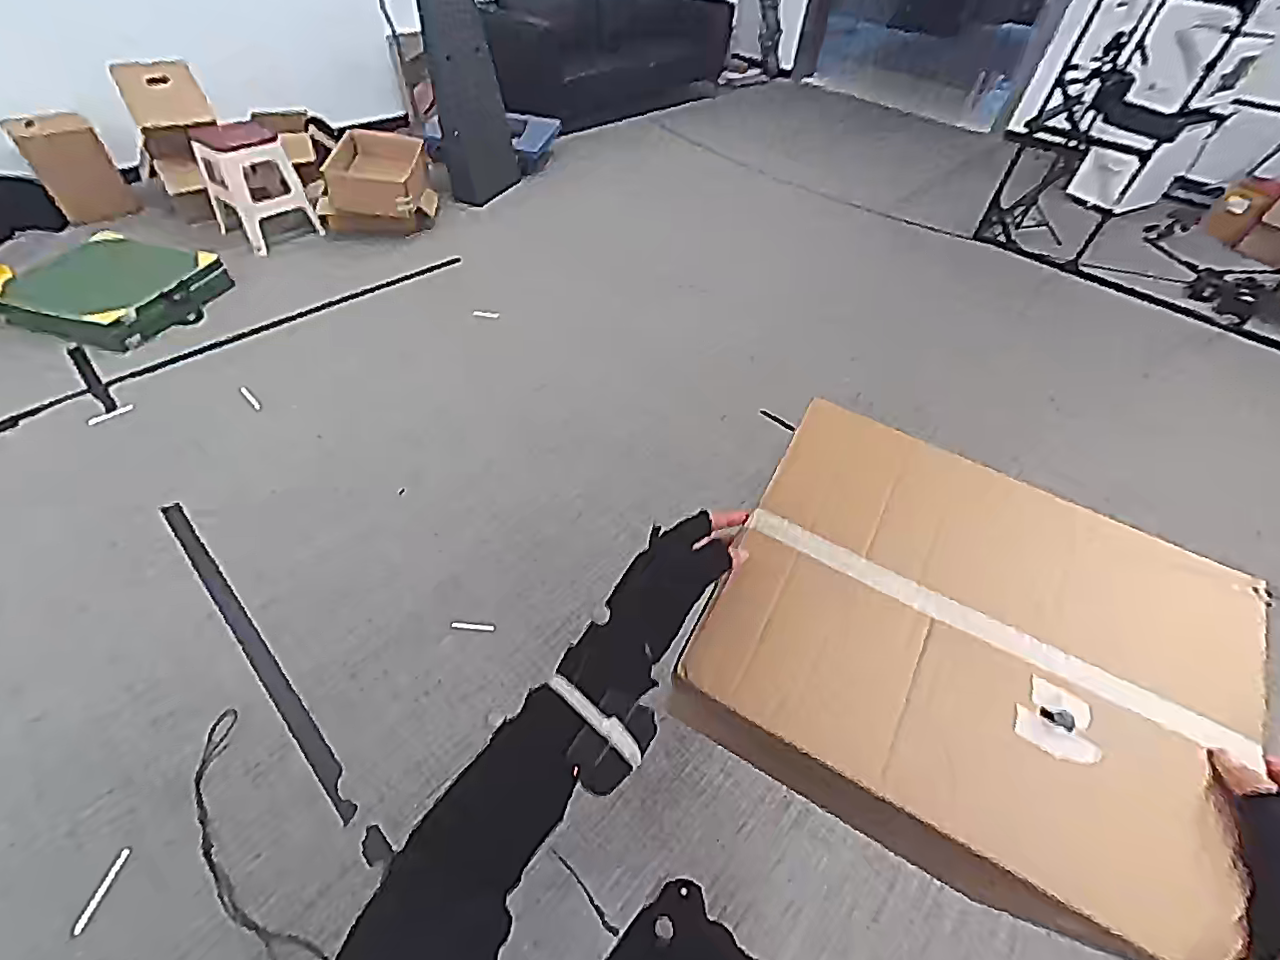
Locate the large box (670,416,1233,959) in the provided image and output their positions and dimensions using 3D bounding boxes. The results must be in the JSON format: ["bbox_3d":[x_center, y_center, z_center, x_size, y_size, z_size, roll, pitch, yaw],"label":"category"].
[{"bbox_3d":[0.280,0.198,0.598,0.408,0.320,0.320,26,66,14],"label":"large box"}]
